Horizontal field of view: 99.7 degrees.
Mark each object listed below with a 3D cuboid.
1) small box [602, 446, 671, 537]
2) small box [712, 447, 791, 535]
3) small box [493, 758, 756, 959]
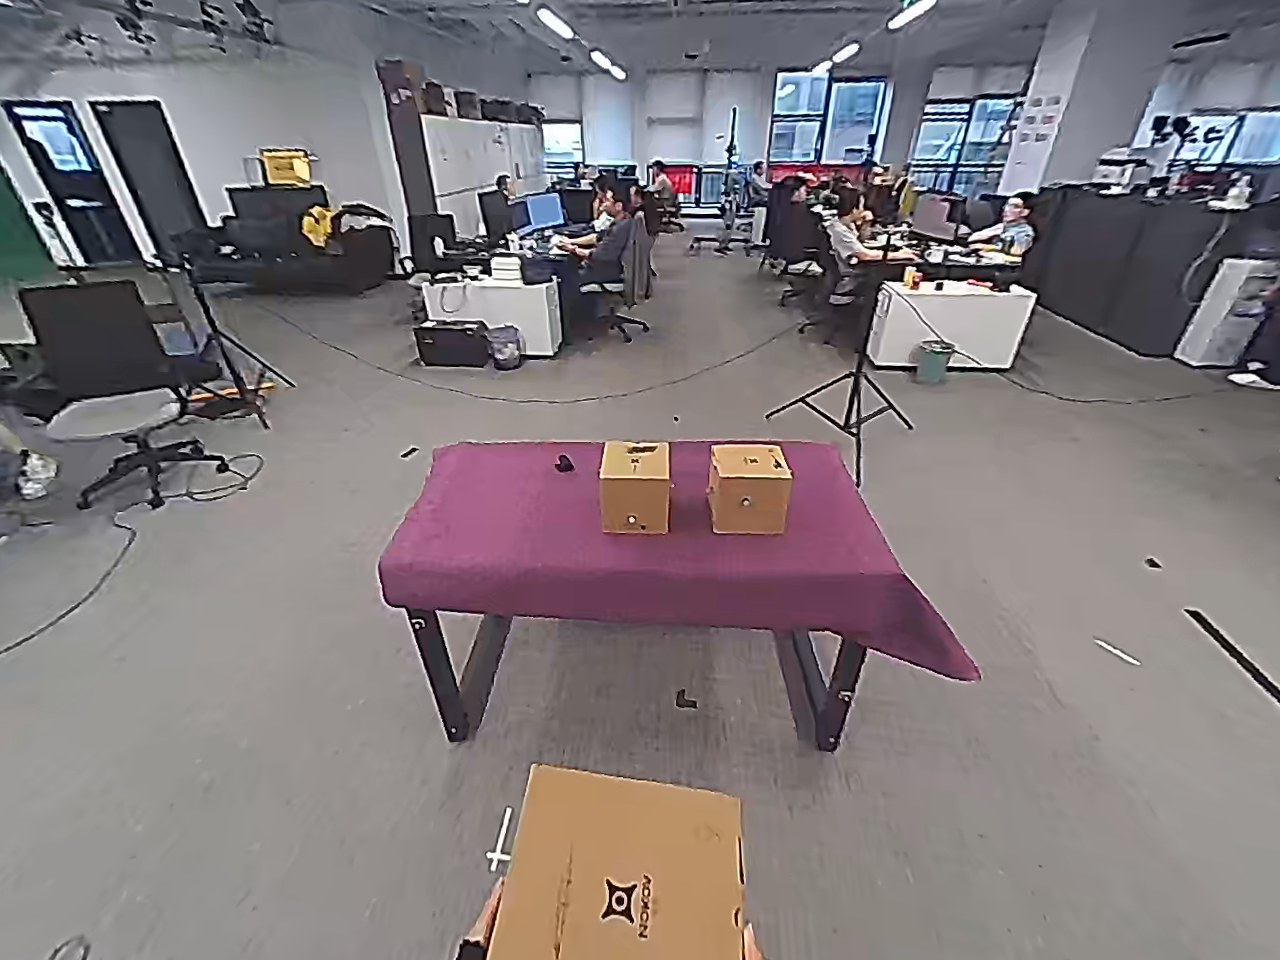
[{"bbox_3d":[-0.004,0.026,1.387,0.168,0.176,0.179,0,32,3],"label":"small box"},{"bbox_3d":[0.276,0.028,1.378,0.179,0.176,0.168,-1,31,2],"label":"small box"},{"bbox_3d":[-0.015,0.354,0.436,0.179,0.176,0.168,7,38,0],"label":"small box"}]
